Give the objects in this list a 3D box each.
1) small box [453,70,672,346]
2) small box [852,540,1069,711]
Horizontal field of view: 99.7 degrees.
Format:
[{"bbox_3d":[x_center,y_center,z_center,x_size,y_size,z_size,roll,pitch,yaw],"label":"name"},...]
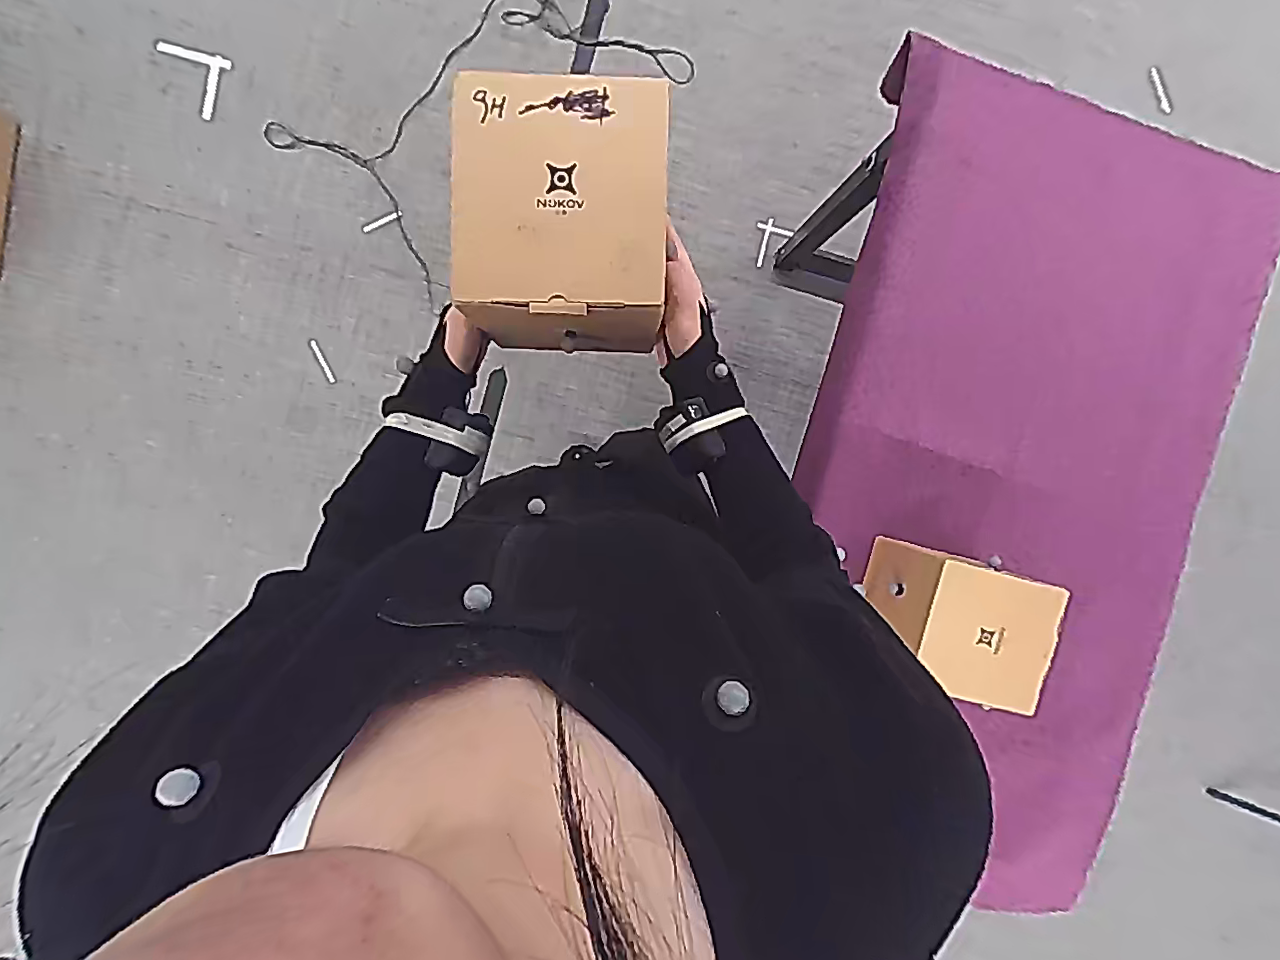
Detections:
[{"bbox_3d":[-0.061,-0.223,0.490,0.168,0.176,0.179,1,93,-2],"label":"small box"},{"bbox_3d":[0.424,0.187,0.747,0.179,0.176,0.168,15,92,-7],"label":"small box"}]
